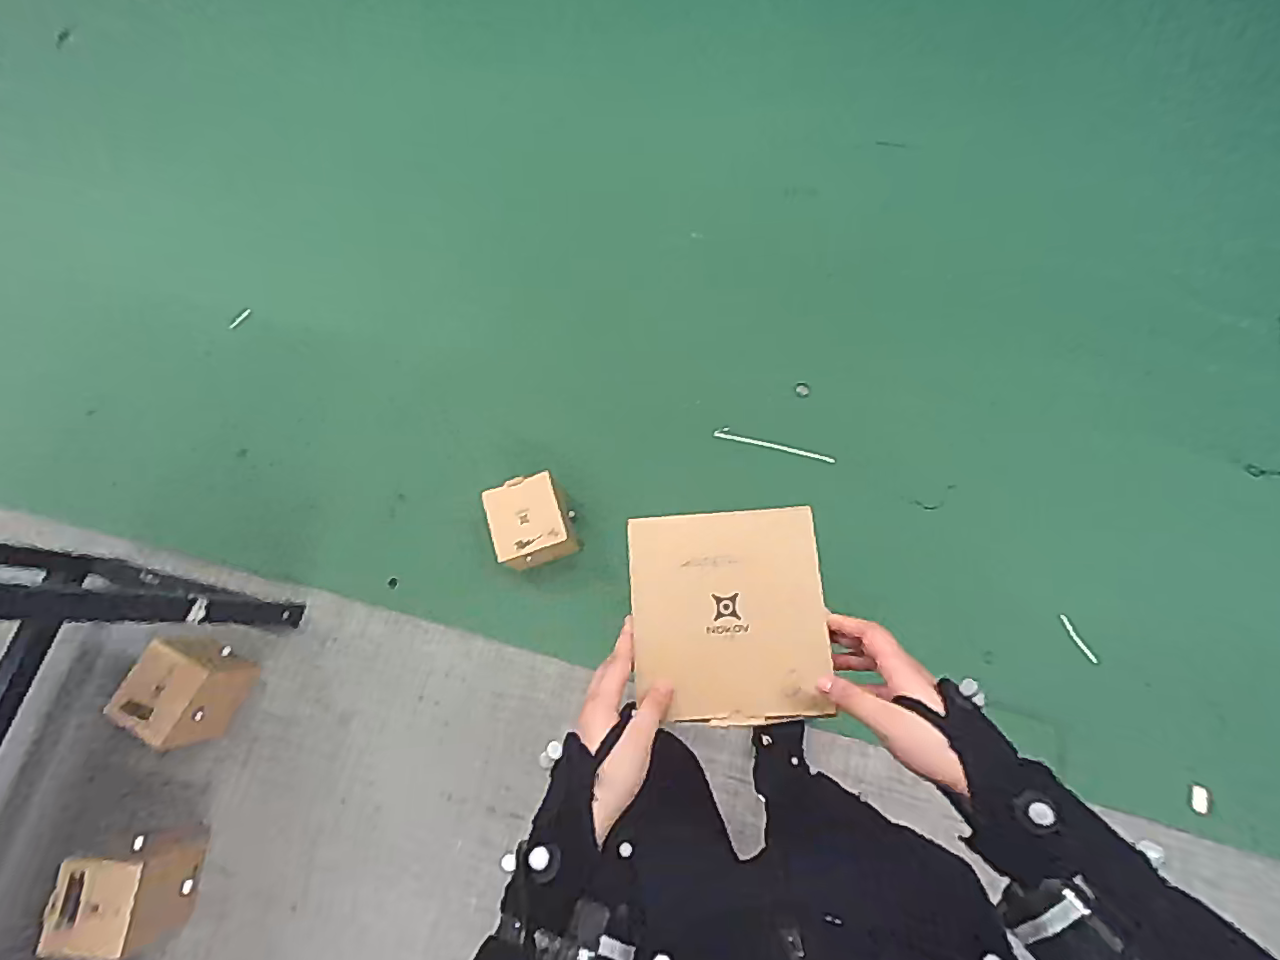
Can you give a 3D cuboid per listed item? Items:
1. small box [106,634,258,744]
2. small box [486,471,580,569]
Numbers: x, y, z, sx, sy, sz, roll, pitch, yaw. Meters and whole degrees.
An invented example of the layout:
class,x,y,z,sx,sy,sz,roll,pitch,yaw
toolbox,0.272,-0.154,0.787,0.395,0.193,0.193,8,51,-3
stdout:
class,x,y,z,sx,sy,sz,roll,pitch,yaw
small box,-1.047,0.475,1.254,0.168,0.176,0.179,26,76,10
small box,-0.254,0.102,1.312,0.168,0.176,0.179,-18,73,-1
